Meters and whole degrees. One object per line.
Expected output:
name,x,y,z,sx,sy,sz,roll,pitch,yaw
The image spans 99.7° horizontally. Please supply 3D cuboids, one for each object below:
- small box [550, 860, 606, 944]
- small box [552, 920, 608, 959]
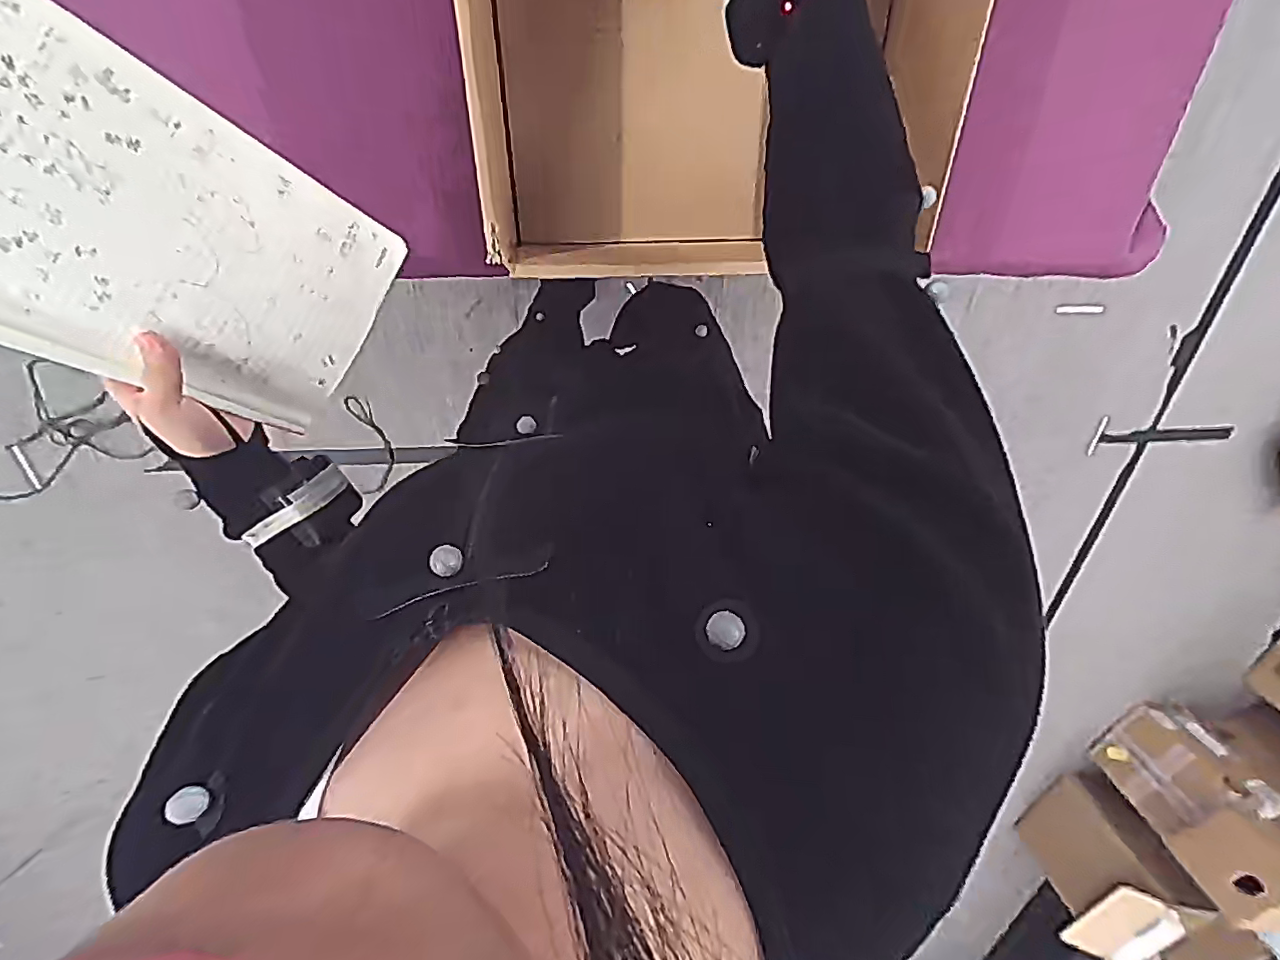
small box,-0.210,1.404,1.804,0.179,0.176,0.168,-1,122,-10
small box,-0.187,1.500,1.672,0.168,0.176,0.179,2,121,-10
